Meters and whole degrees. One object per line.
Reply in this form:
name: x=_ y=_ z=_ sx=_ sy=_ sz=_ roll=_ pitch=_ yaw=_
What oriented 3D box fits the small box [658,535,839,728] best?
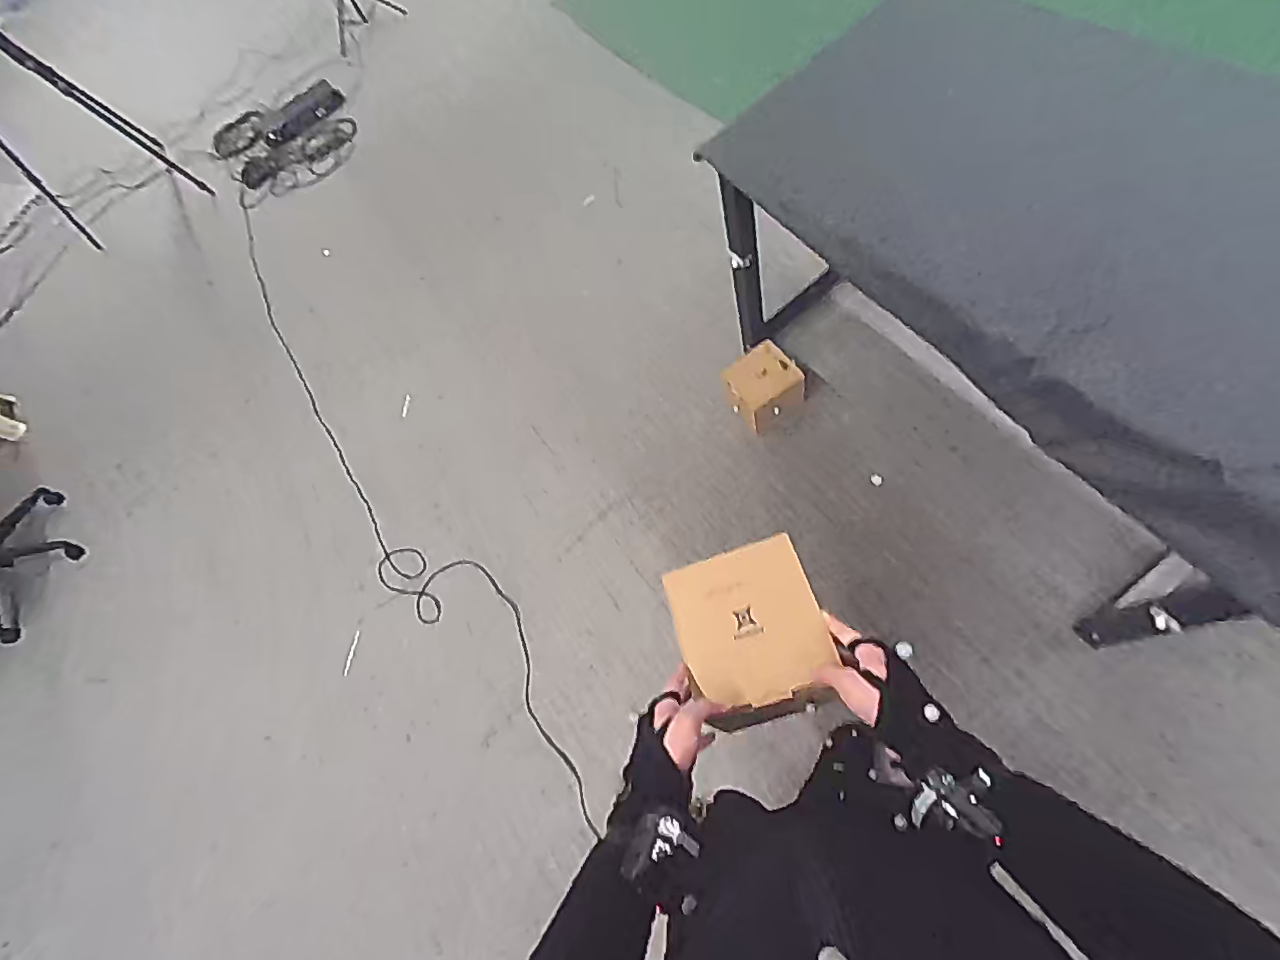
small box: x=0.140 y=0.200 z=0.682 sx=0.168 sy=0.176 sz=0.179 roll=-21 pitch=55 yaw=8
